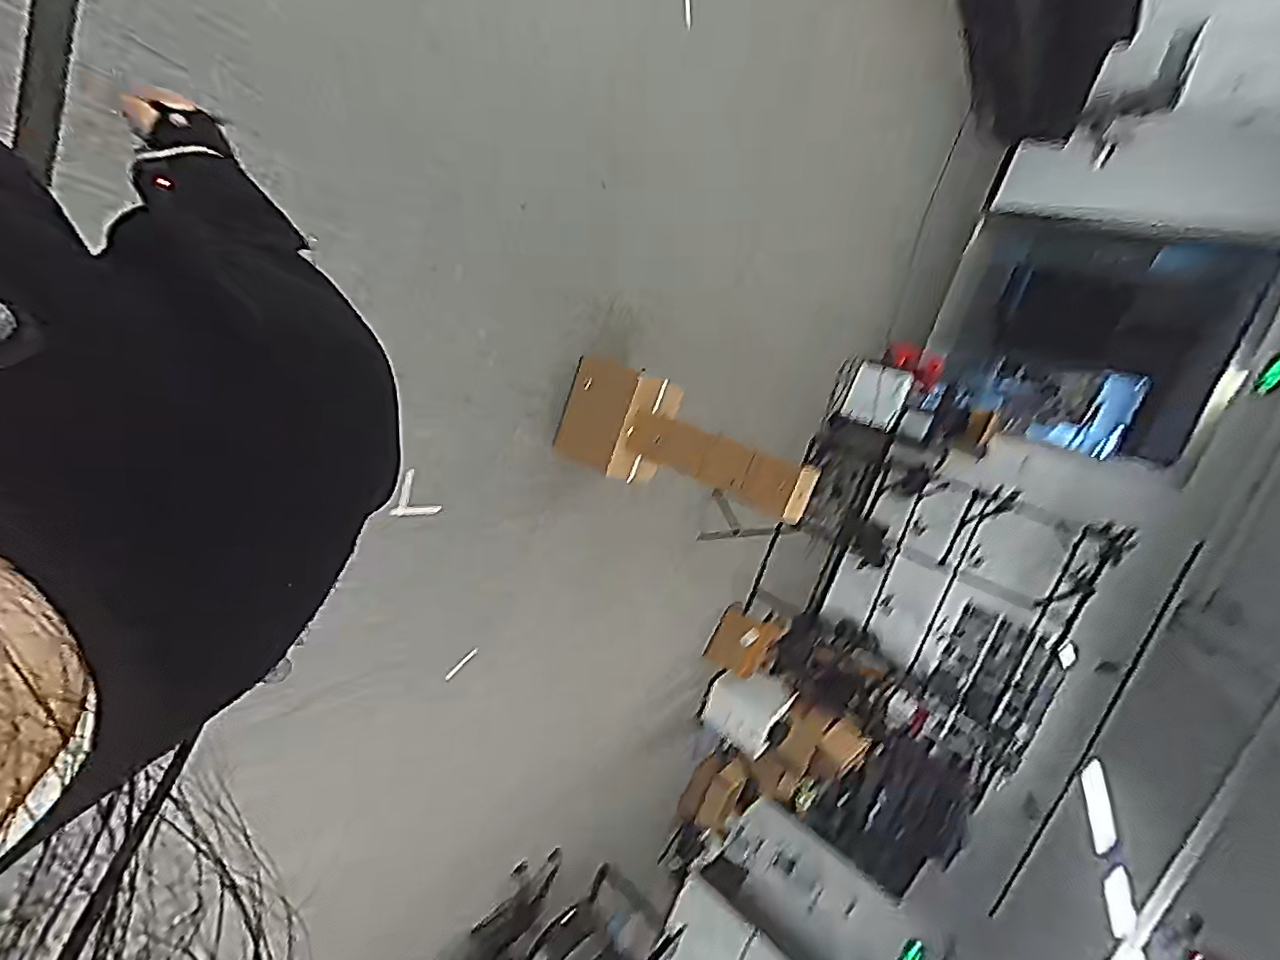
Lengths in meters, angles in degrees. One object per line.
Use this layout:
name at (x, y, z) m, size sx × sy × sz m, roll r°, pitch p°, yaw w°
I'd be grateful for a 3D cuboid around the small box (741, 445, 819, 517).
small box at (0.449, 0.004, 1.757) m, size 0.168 × 0.176 × 0.179 m, roll 10°, pitch 102°, yaw -54°

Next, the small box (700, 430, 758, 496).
small box at (0.327, -0.054, 1.846) m, size 0.168 × 0.176 × 0.179 m, roll 9°, pitch 104°, yaw -55°

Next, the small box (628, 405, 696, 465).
small box at (0.079, -0.170, 2.028) m, size 0.168 × 0.176 × 0.179 m, roll 3°, pitch 109°, yaw -53°
